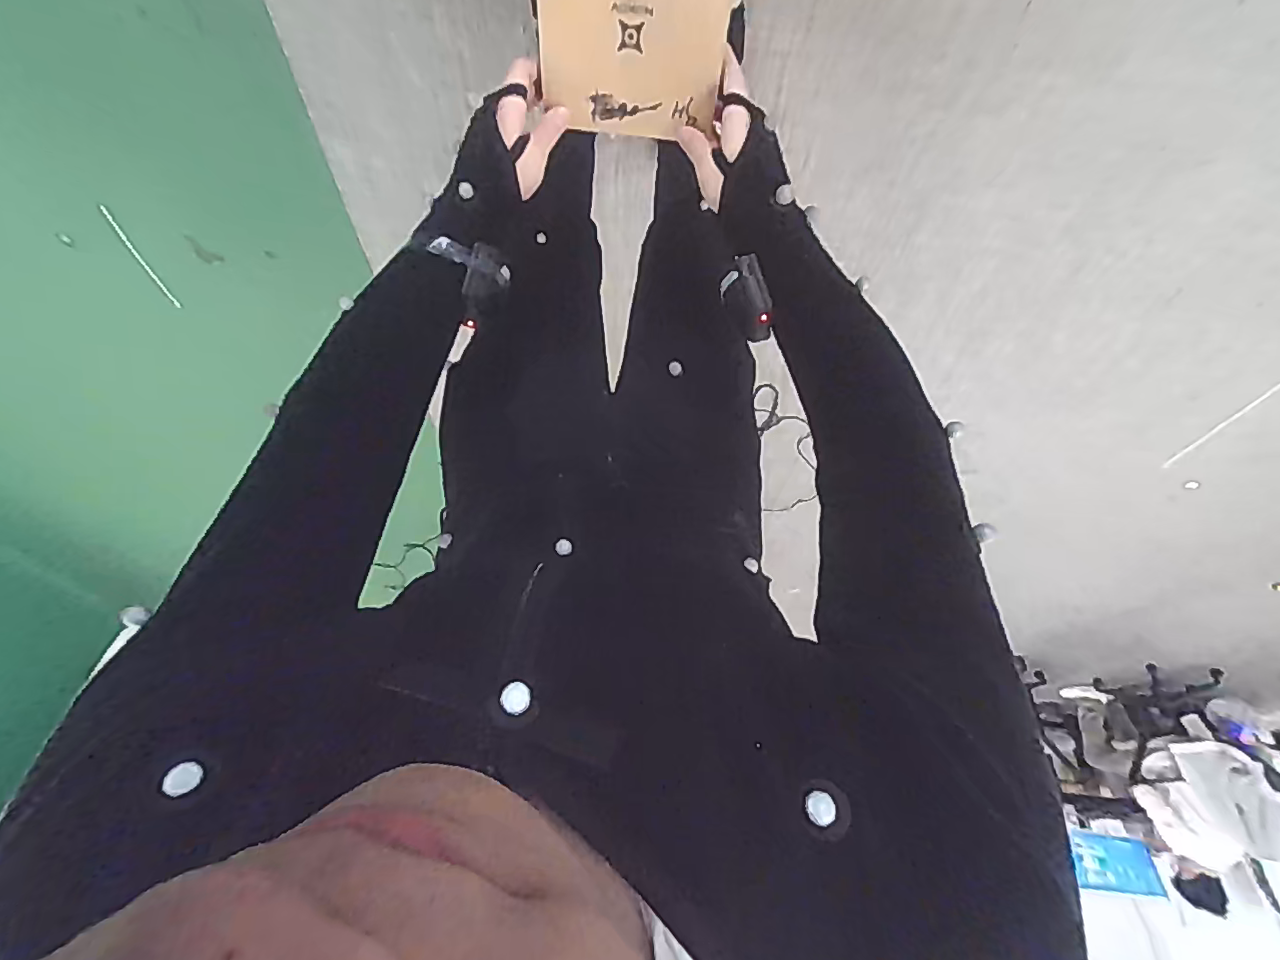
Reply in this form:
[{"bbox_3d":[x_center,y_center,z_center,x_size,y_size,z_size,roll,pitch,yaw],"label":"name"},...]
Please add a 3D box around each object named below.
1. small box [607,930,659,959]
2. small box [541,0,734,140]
[{"bbox_3d":[-0.028,1.590,1.763,0.168,0.176,0.179,5,146,1],"label":"small box"},{"bbox_3d":[0.001,-0.460,0.513,0.168,0.176,0.179,7,142,-1],"label":"small box"}]
